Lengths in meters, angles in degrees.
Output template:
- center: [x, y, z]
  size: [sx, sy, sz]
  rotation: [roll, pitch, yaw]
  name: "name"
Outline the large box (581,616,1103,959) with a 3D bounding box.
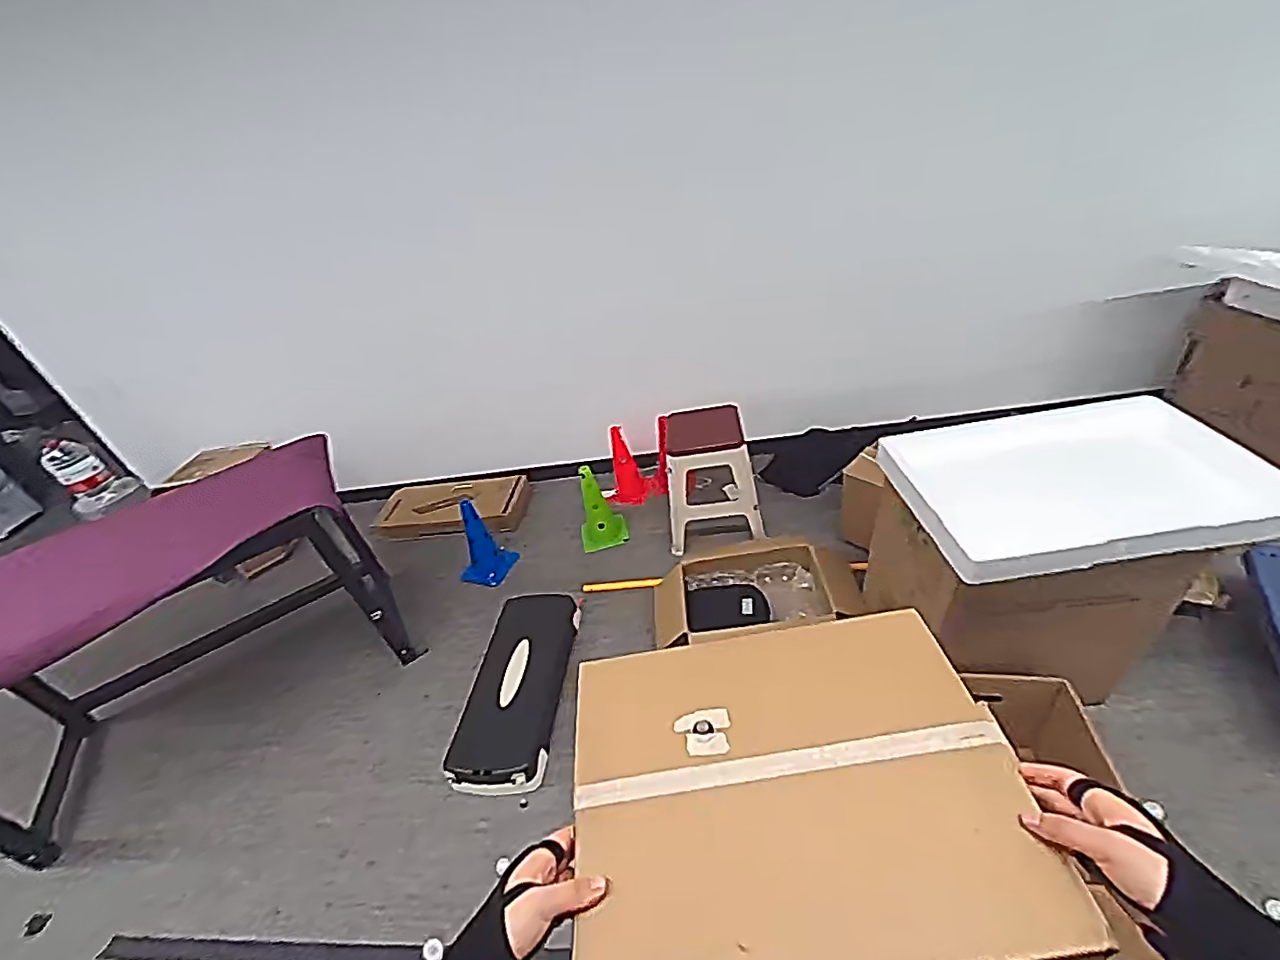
- center: [0.169, 0.404, 0.612]
  size: [0.408, 0.320, 0.320]
  rotation: [-11, 35, 4]
  name: "large box"
